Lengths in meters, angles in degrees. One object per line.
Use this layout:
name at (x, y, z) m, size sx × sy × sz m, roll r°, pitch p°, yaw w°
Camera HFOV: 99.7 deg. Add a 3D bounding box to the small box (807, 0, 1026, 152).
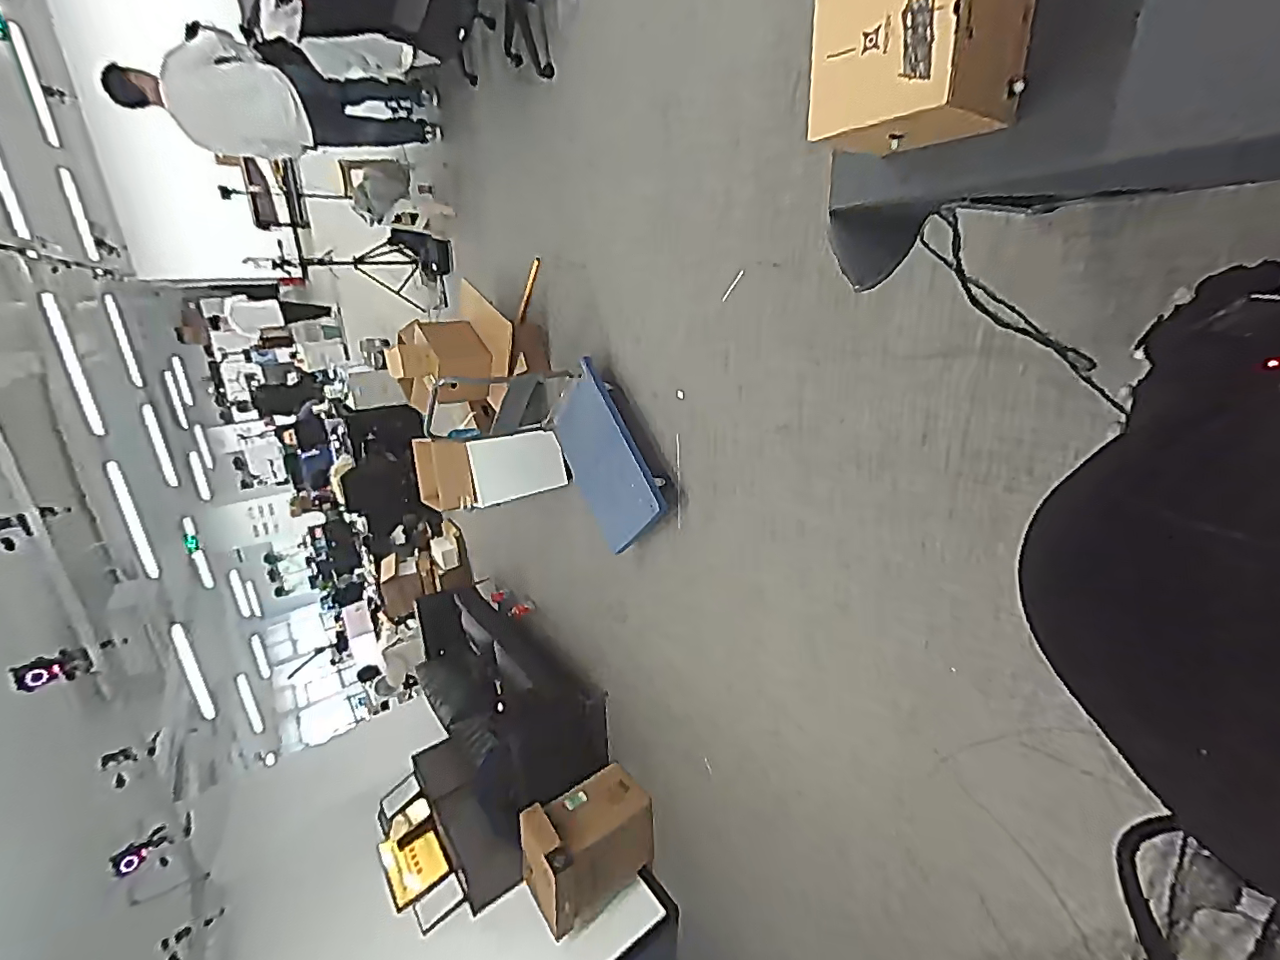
small box at (0.324, -0.504, 0.638) m, size 0.179 × 0.176 × 0.168 m, roll 22°, pitch 120°, yaw 49°
